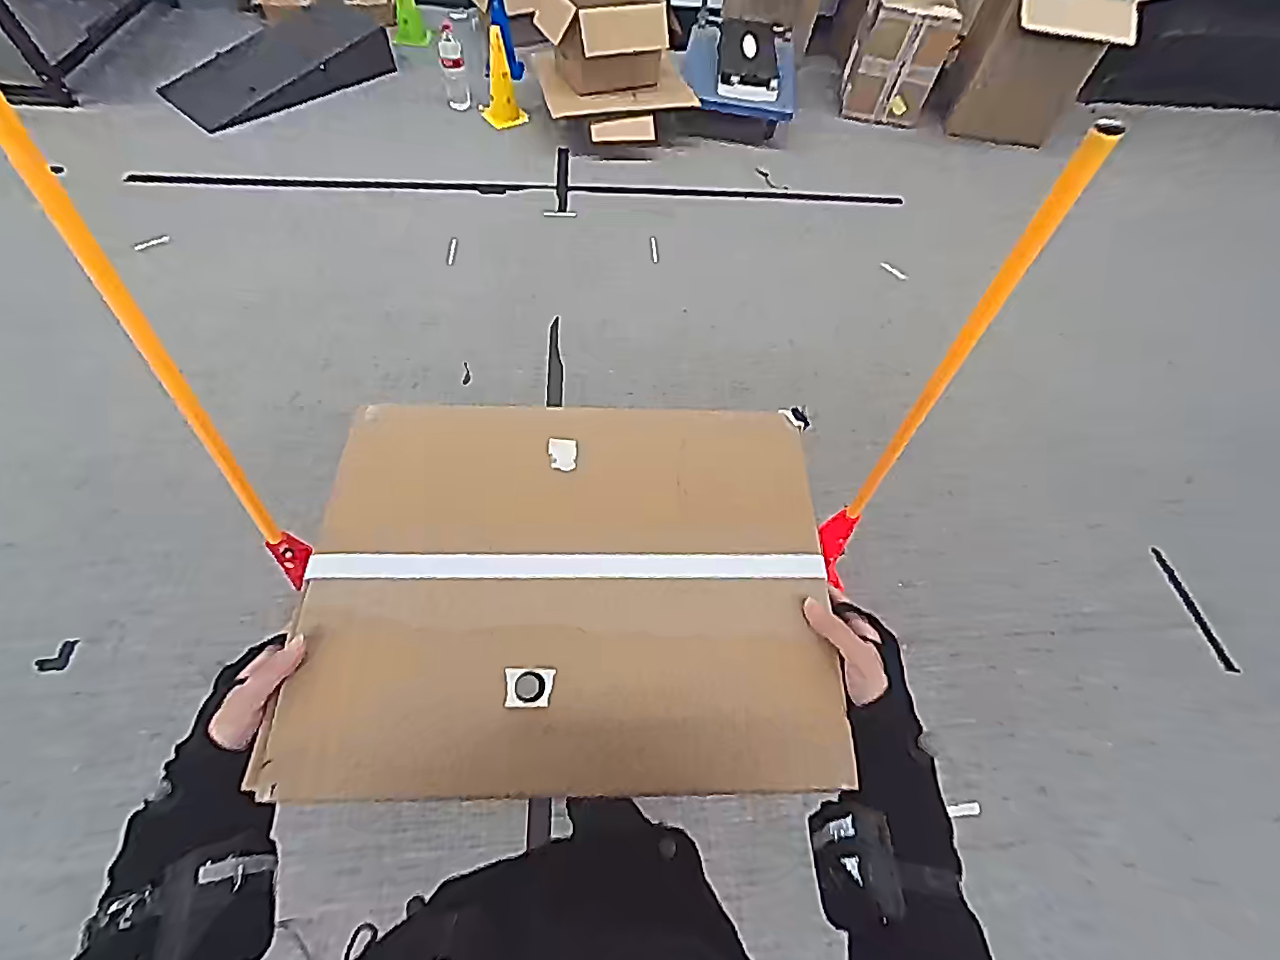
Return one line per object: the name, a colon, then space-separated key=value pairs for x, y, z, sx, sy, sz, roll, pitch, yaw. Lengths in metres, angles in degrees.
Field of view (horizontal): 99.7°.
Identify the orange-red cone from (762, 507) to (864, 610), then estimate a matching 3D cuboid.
orange-red cone: x=0.467 y=0.165 z=1.350 sx=0.199 sy=0.360 sz=0.198 roll=-8 pitch=60 yaw=-11
